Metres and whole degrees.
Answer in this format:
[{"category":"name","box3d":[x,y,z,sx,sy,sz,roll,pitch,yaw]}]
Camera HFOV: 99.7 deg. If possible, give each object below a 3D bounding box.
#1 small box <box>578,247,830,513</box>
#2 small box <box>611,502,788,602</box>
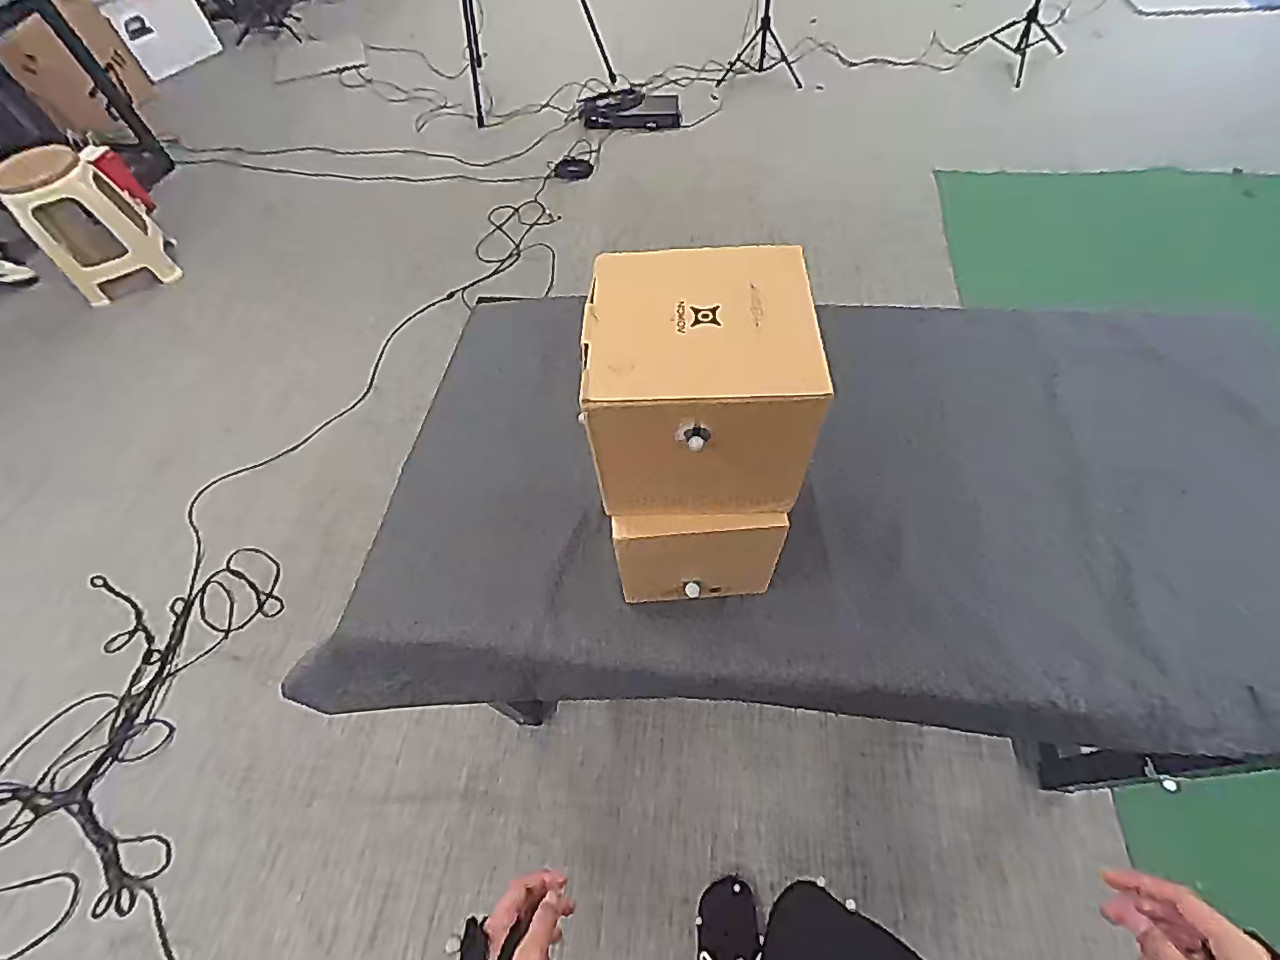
[{"category":"small box","box3d":[0.050,-0.079,0.478,0.179,0.176,0.168,-1,58,3]},{"category":"small box","box3d":[0.055,0.022,0.606,0.168,0.176,0.179,-5,57,2]}]
